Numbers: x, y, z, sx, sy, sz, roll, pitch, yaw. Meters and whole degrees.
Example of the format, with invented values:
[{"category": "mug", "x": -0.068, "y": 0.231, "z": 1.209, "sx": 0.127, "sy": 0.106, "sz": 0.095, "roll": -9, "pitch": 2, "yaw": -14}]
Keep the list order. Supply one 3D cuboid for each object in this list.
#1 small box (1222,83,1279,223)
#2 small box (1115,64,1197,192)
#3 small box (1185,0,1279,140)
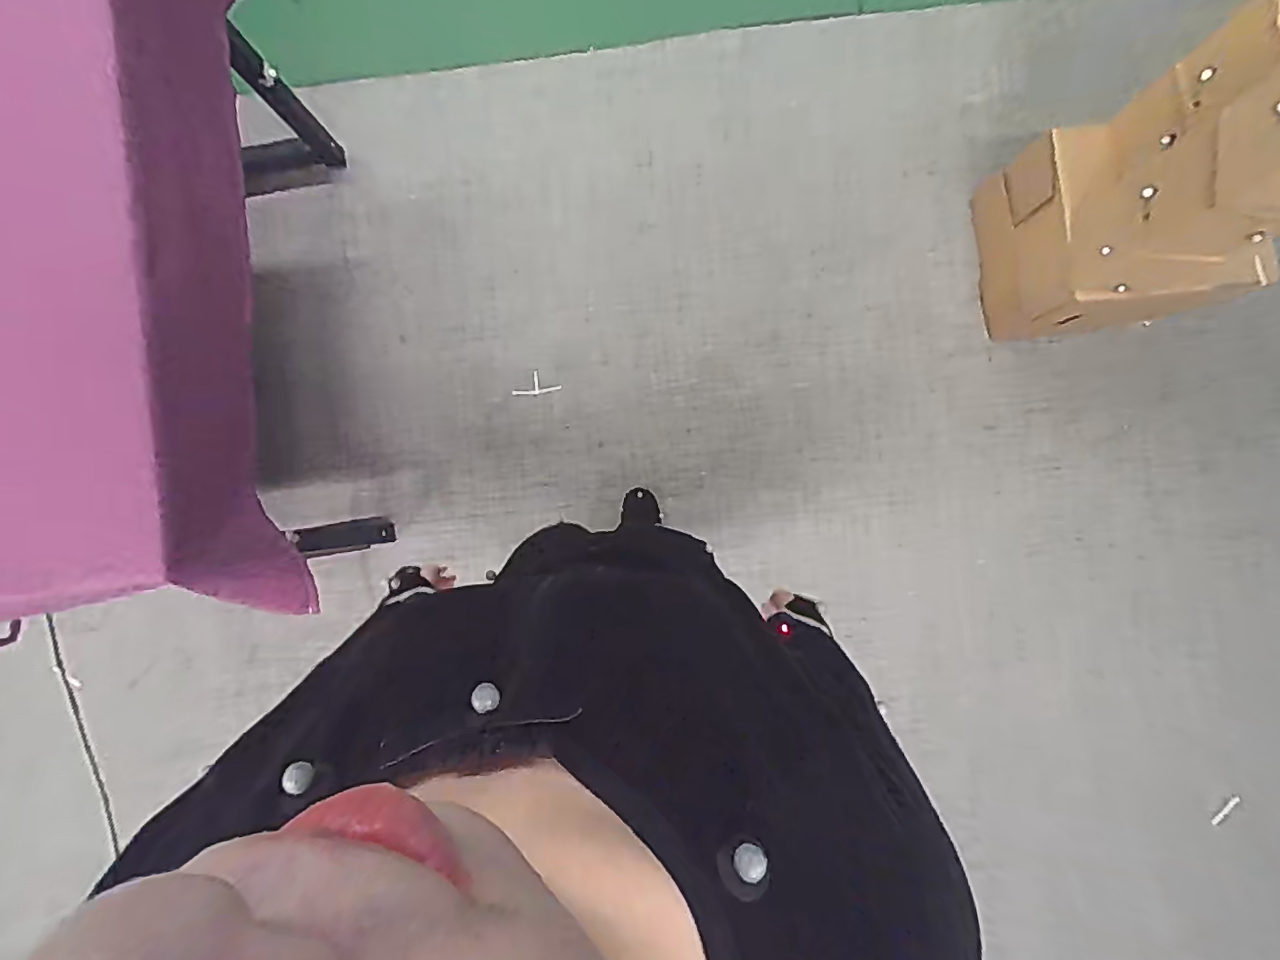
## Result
[{"category": "small box", "x": 1.012, "y": -0.500, "z": 0.782, "sx": 0.168, "sy": 0.176, "sz": 0.179, "roll": 8, "pitch": 86, "yaw": 2}, {"category": "small box", "x": 1.145, "y": -0.722, "z": 1.122, "sx": 0.168, "sy": 0.176, "sz": 0.179, "roll": -7, "pitch": 87, "yaw": -1}, {"category": "small box", "x": 1.142, "y": -0.735, "z": 0.959, "sx": 0.179, "sy": 0.176, "sz": 0.168, "roll": -5, "pitch": 87, "yaw": 1}]
